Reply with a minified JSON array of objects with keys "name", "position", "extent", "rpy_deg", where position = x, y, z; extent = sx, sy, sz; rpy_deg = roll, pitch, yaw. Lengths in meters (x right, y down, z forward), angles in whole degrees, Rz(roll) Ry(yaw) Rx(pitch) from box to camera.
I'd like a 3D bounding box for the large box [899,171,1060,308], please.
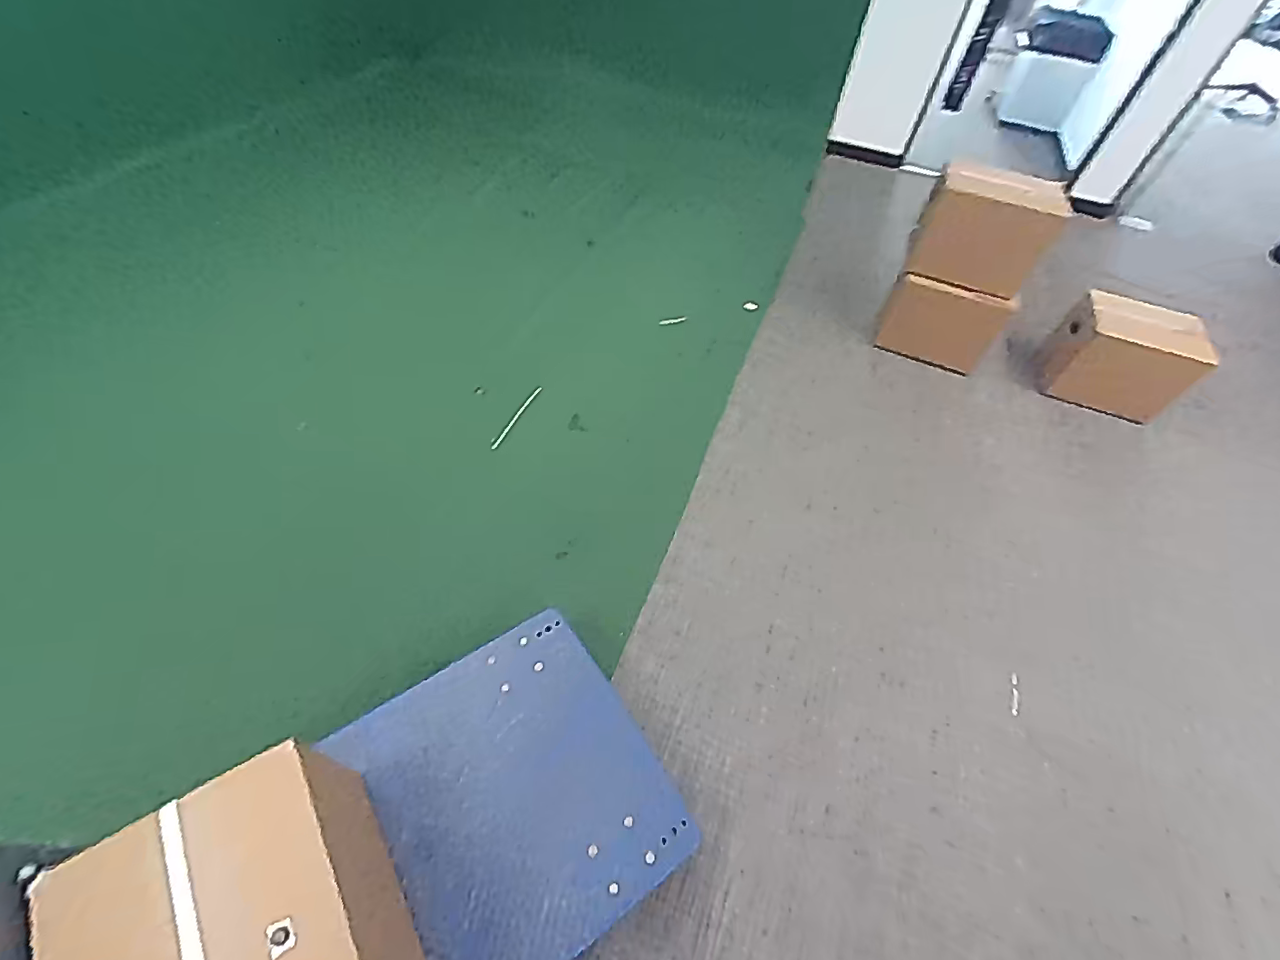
[{"name":"large box","position":[1.234,-0.896,2.014],"extent":[0.408,0.320,0.320],"rpy_deg":[21,50,9]}]
